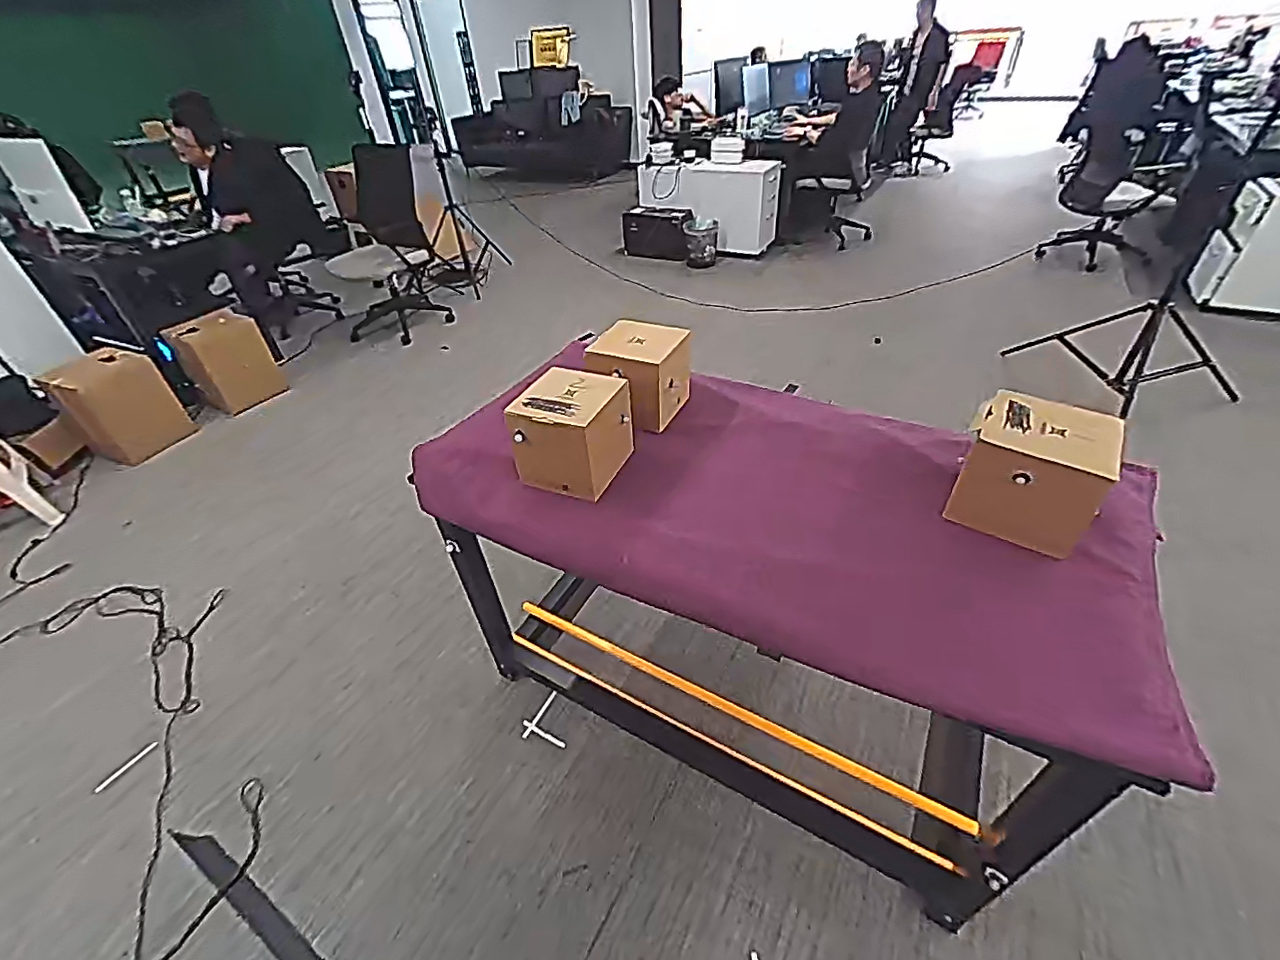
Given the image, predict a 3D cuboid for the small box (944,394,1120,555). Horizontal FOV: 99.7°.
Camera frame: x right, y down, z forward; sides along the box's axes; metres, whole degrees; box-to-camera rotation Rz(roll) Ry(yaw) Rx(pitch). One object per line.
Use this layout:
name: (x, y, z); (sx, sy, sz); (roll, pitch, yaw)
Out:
small box: (0.618, -0.009, 0.868); (0.179, 0.176, 0.168); (24, 48, 28)

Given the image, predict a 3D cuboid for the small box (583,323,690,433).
small box: (-0.001, -0.223, 1.187); (0.179, 0.176, 0.168); (15, 43, 22)
